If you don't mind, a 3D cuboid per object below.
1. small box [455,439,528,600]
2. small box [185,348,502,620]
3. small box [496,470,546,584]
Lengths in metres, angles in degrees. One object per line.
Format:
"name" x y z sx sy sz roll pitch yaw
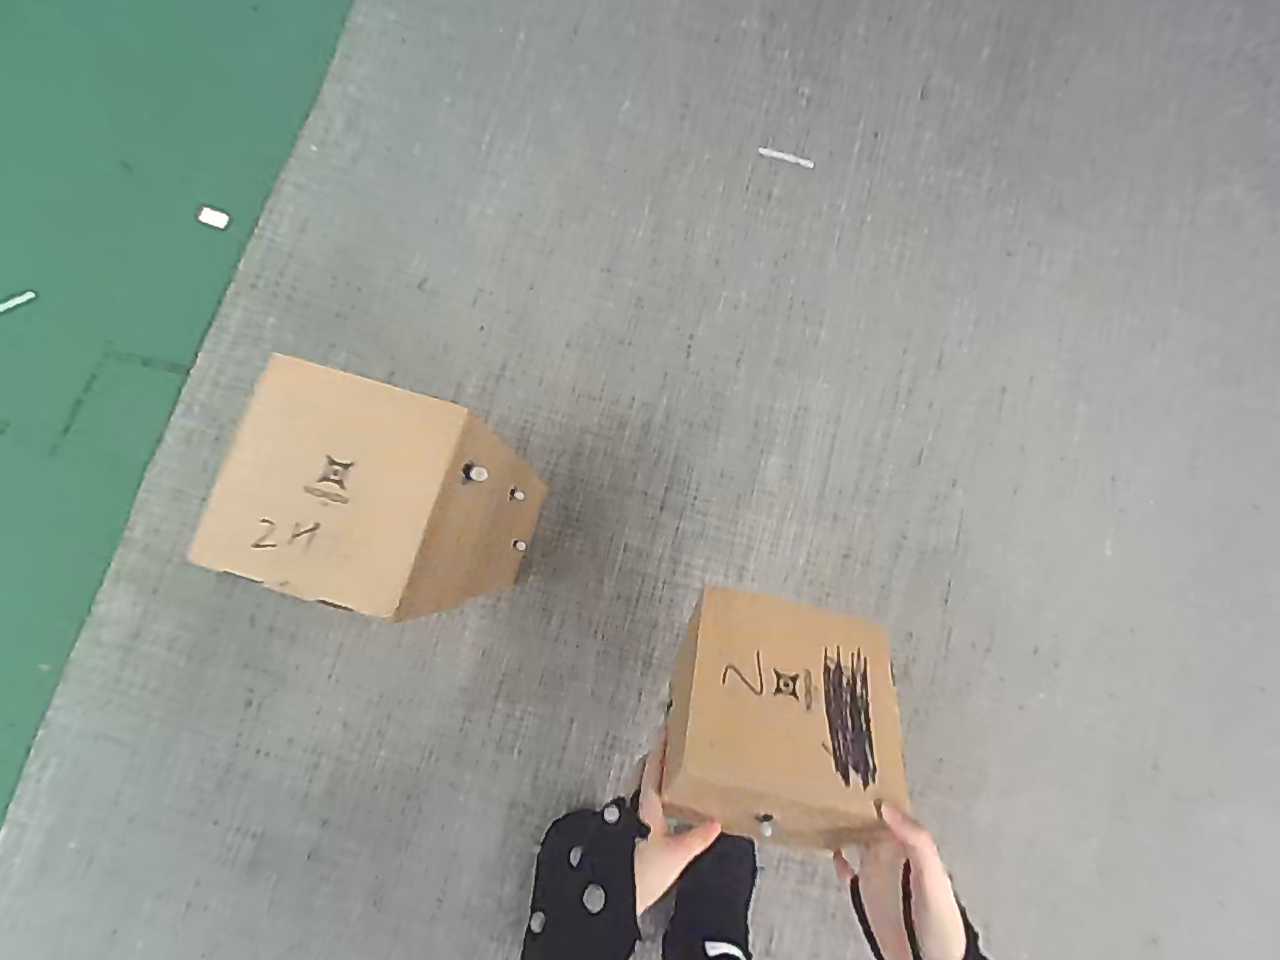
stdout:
"small box" -0.245 0.032 0.654 0.168 0.176 0.179 16 82 1
"small box" -0.238 0.011 0.490 0.168 0.176 0.179 16 81 2
"small box" -0.253 0.053 0.815 0.168 0.176 0.179 19 82 1
